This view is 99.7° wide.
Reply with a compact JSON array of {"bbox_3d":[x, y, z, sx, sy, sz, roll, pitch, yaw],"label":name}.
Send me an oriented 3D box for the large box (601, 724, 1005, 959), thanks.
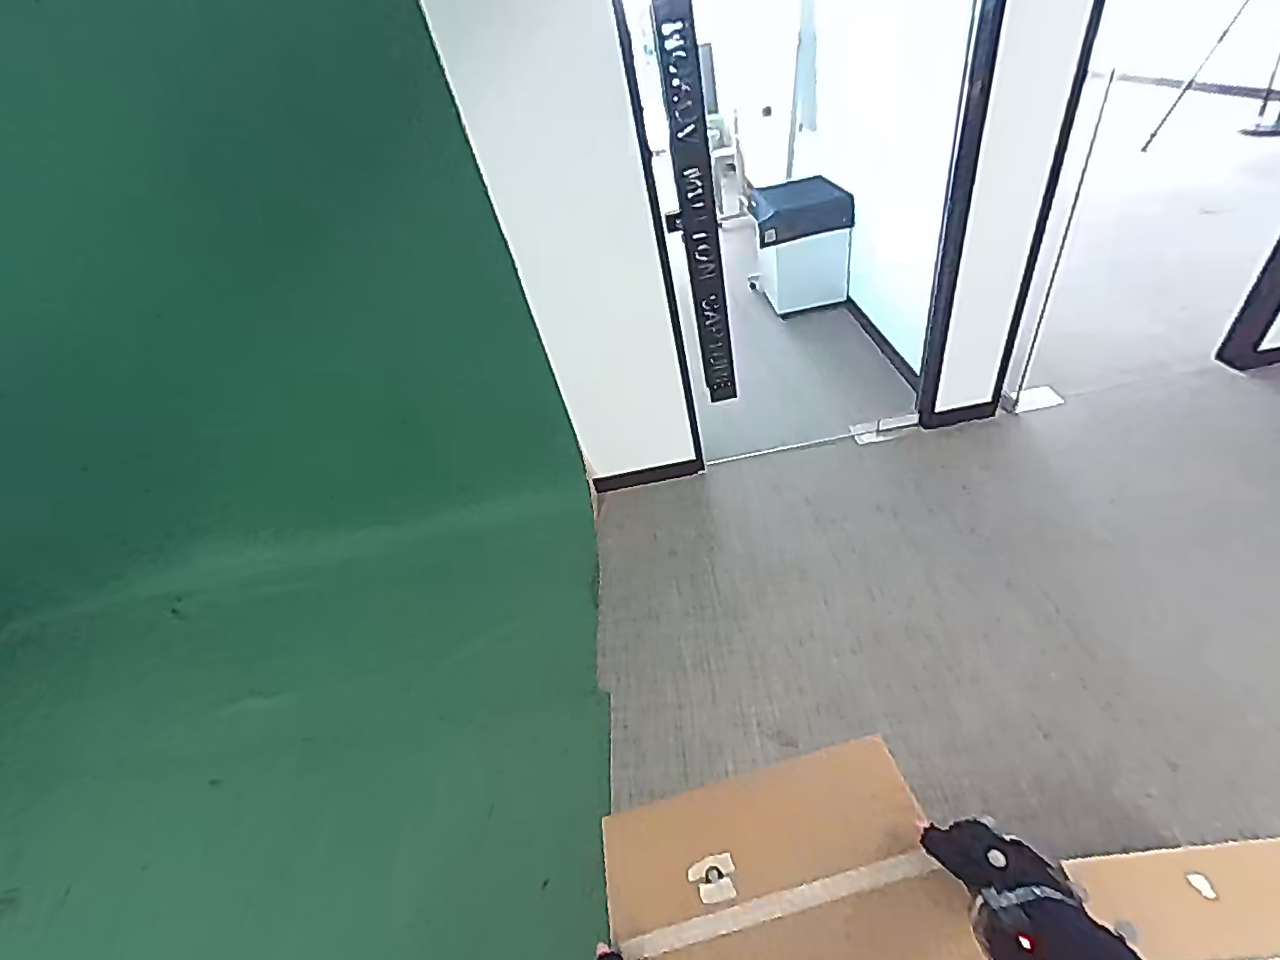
[{"bbox_3d":[0.200,0.596,0.709,0.408,0.320,0.320,-19,33,2],"label":"large box"}]
